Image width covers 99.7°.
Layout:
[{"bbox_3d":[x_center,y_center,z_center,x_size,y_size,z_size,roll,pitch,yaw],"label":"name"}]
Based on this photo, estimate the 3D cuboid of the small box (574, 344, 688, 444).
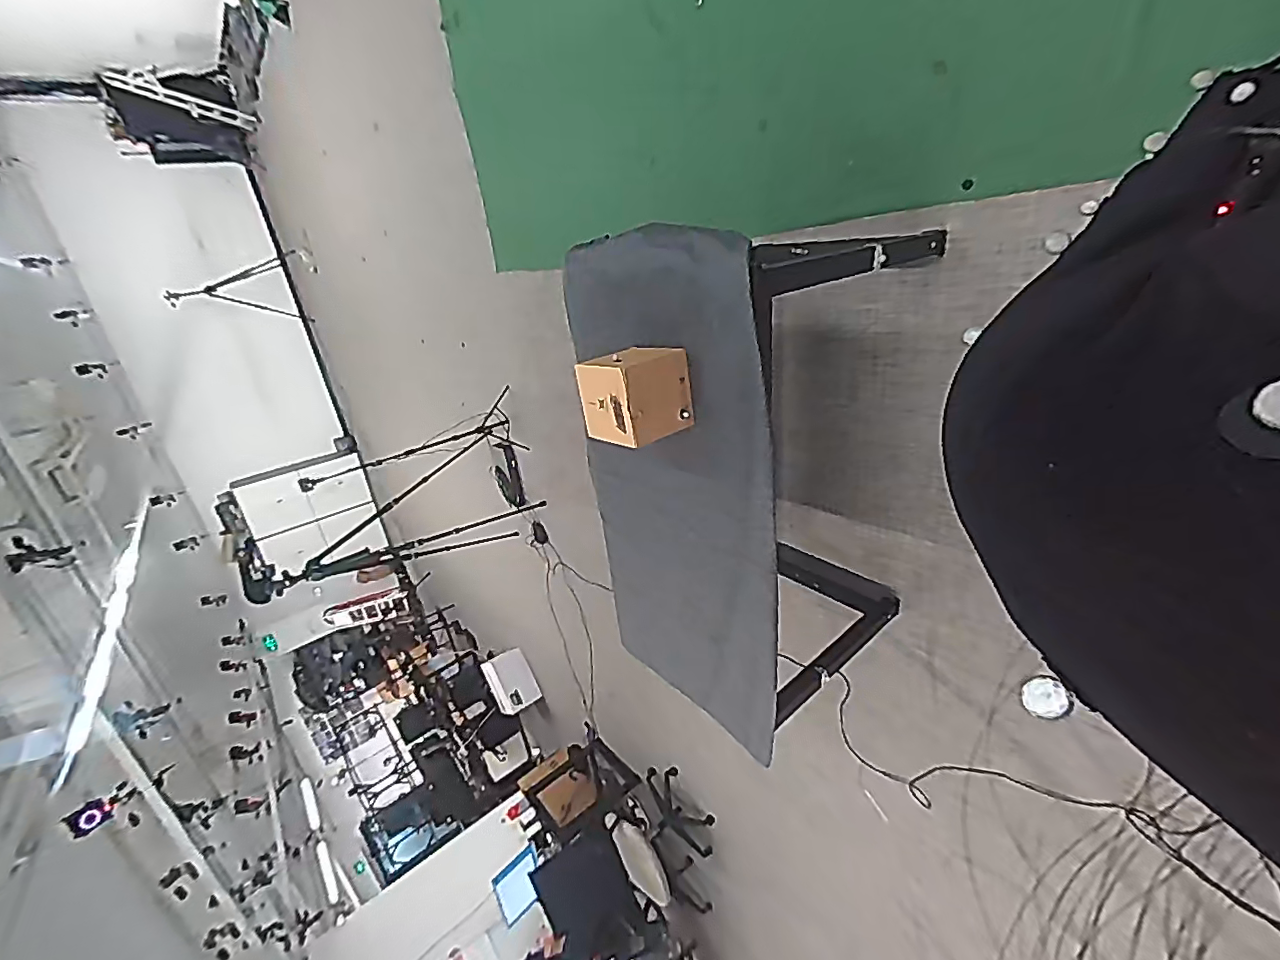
[{"bbox_3d":[-0.011,-0.191,1.153,0.179,0.176,0.168,19,125,50],"label":"small box"}]
